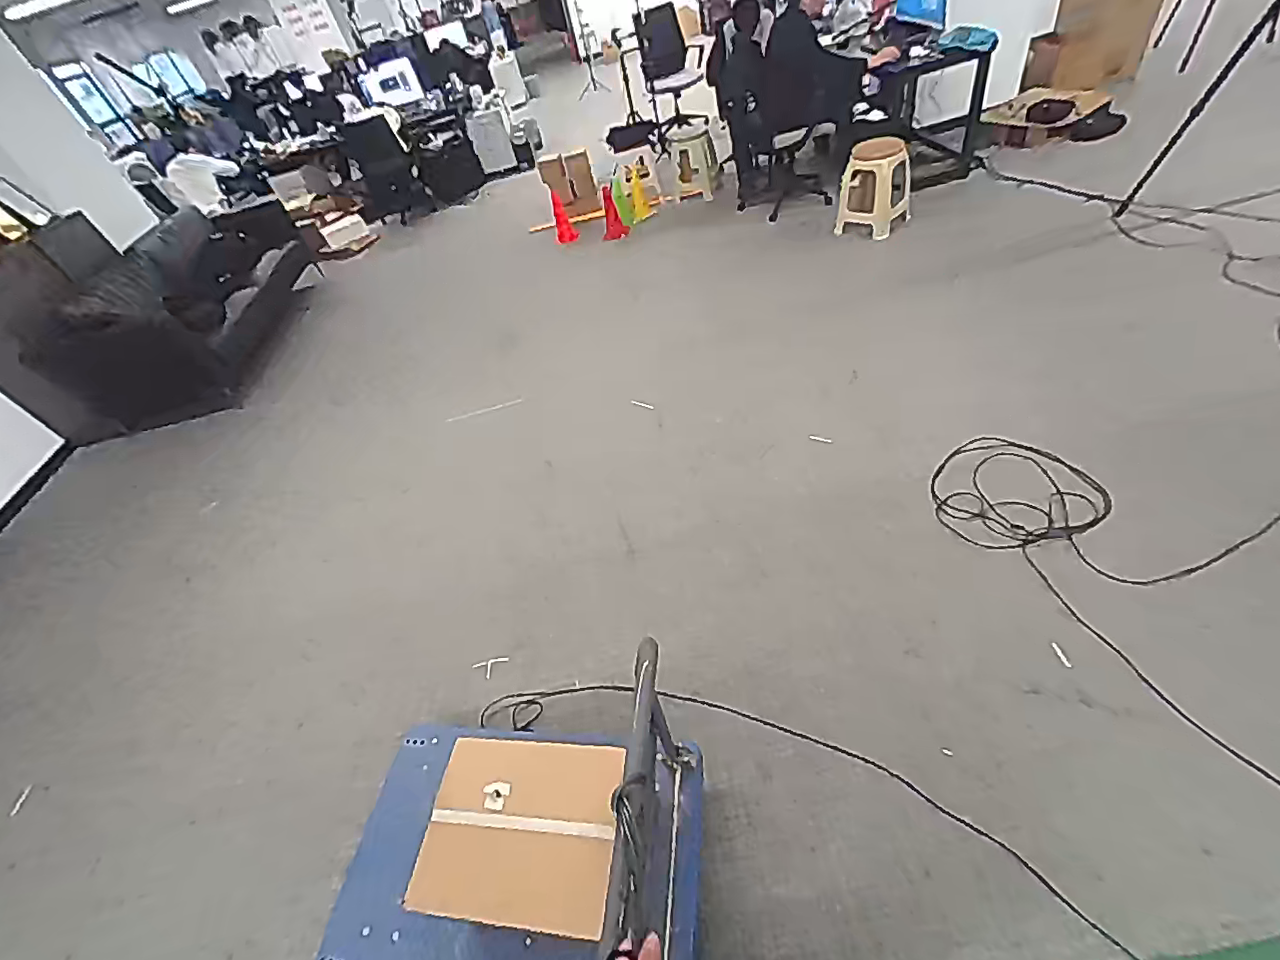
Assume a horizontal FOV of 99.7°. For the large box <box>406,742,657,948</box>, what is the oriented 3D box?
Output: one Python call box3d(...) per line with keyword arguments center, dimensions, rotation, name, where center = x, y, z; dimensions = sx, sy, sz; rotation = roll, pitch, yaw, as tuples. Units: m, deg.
box3d(center=(-0.196, 0.782, 1.166), dimensions=(0.408, 0.320, 0.320), rotation=(-4, 45, 15), name="large box")
